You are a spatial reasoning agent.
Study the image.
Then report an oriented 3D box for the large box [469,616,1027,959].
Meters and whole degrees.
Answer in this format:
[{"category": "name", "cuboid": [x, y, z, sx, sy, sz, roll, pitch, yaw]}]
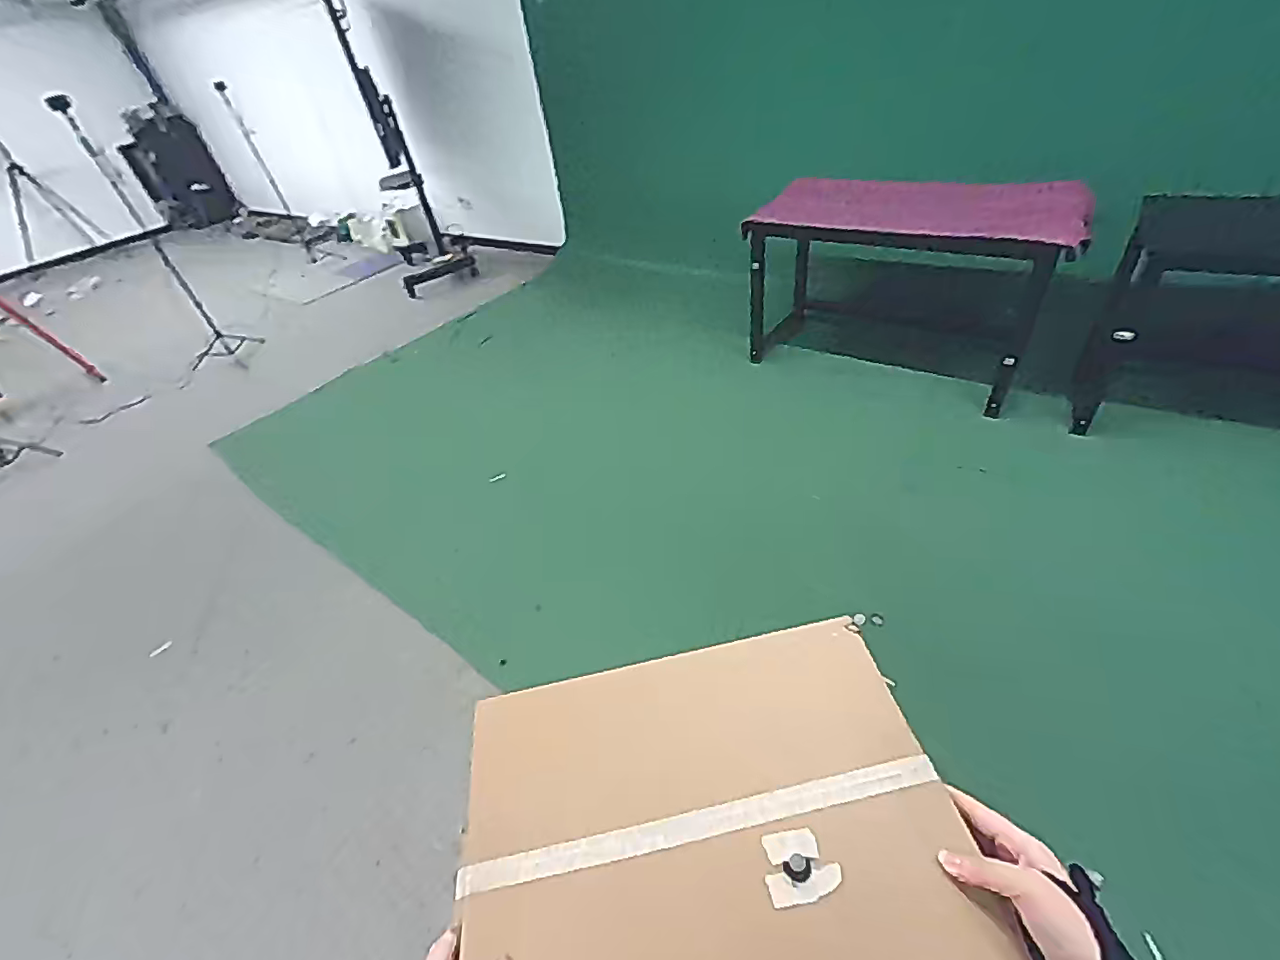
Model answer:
[{"category": "large box", "cuboid": [0.069, 0.396, 0.566, 0.408, 0.320, 0.320, -11, 42, -2]}]
